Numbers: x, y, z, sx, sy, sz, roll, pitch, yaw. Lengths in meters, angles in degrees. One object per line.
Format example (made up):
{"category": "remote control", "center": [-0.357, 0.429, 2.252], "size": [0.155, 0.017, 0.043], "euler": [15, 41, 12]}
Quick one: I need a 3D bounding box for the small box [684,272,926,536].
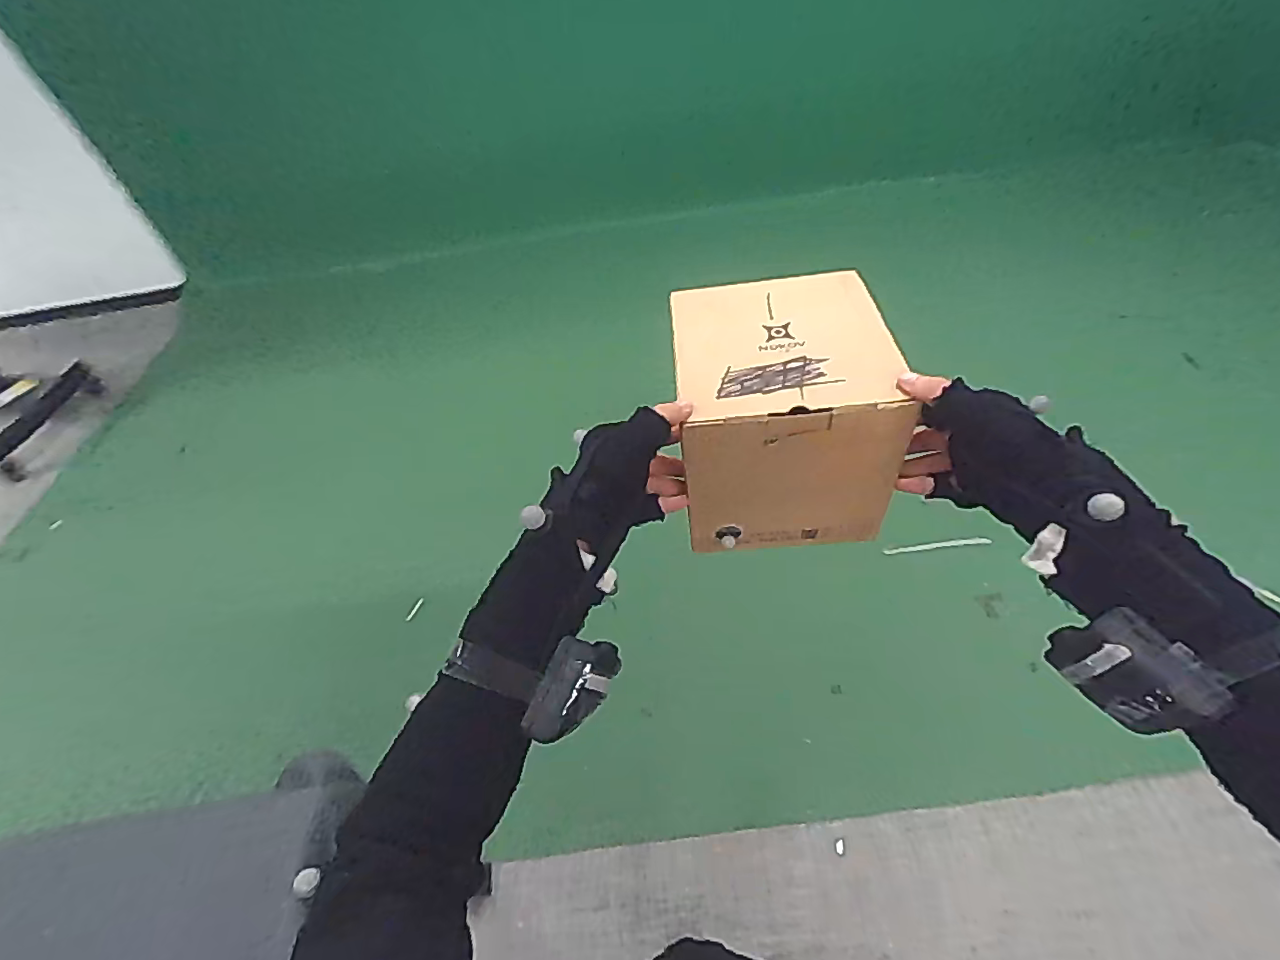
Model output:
{"category": "small box", "center": [0.130, -0.060, 0.491], "size": [0.168, 0.176, 0.179], "euler": [-4, 49, 6]}
